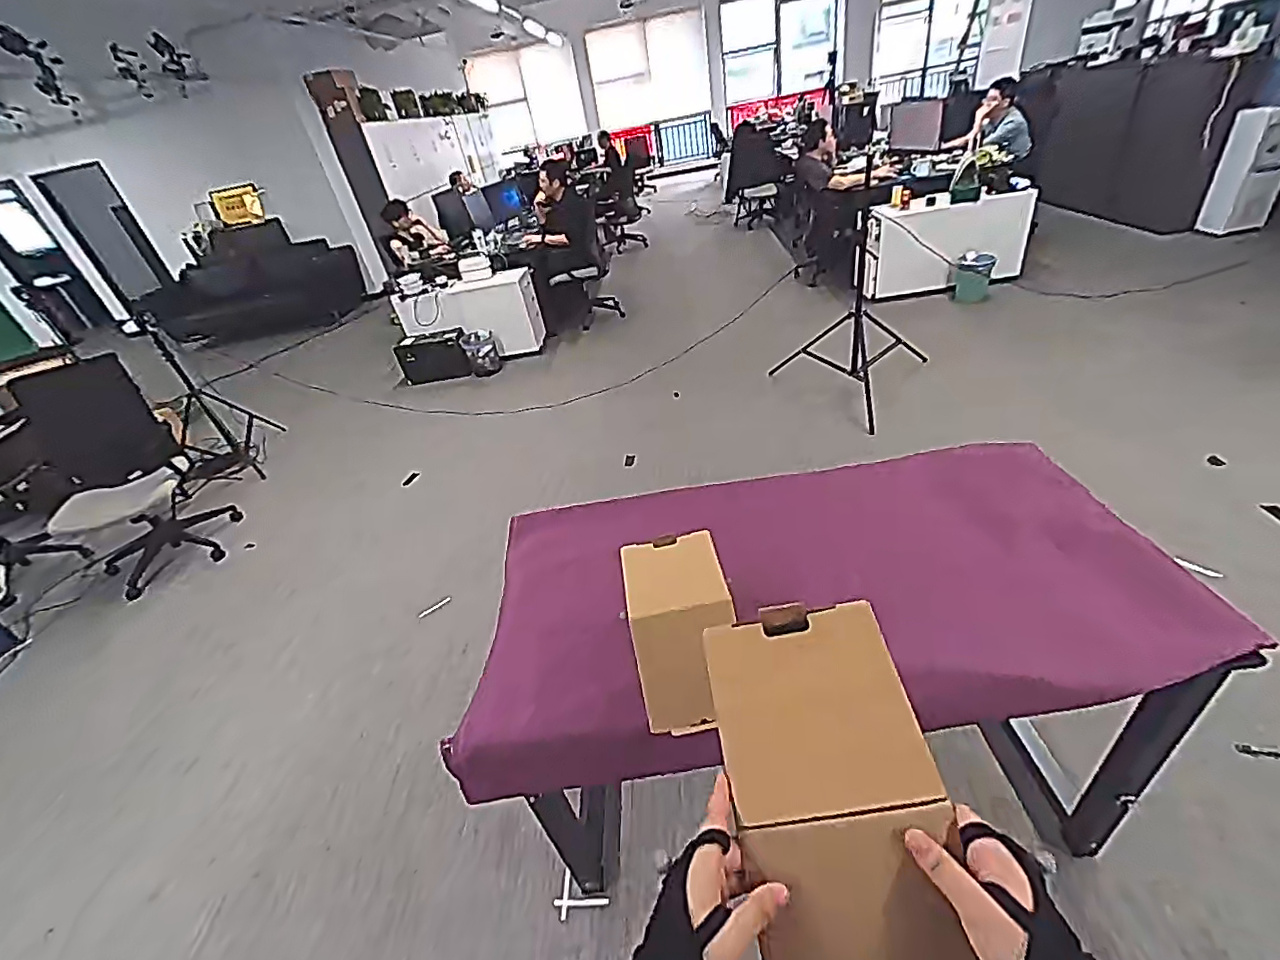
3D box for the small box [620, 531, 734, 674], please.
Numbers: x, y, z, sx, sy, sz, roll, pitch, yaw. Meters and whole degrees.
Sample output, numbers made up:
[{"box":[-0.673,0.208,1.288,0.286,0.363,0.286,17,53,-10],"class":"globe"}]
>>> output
[{"box":[0.065,0.221,0.958,0.168,0.176,0.179,-11,33,0],"class":"small box"}]
